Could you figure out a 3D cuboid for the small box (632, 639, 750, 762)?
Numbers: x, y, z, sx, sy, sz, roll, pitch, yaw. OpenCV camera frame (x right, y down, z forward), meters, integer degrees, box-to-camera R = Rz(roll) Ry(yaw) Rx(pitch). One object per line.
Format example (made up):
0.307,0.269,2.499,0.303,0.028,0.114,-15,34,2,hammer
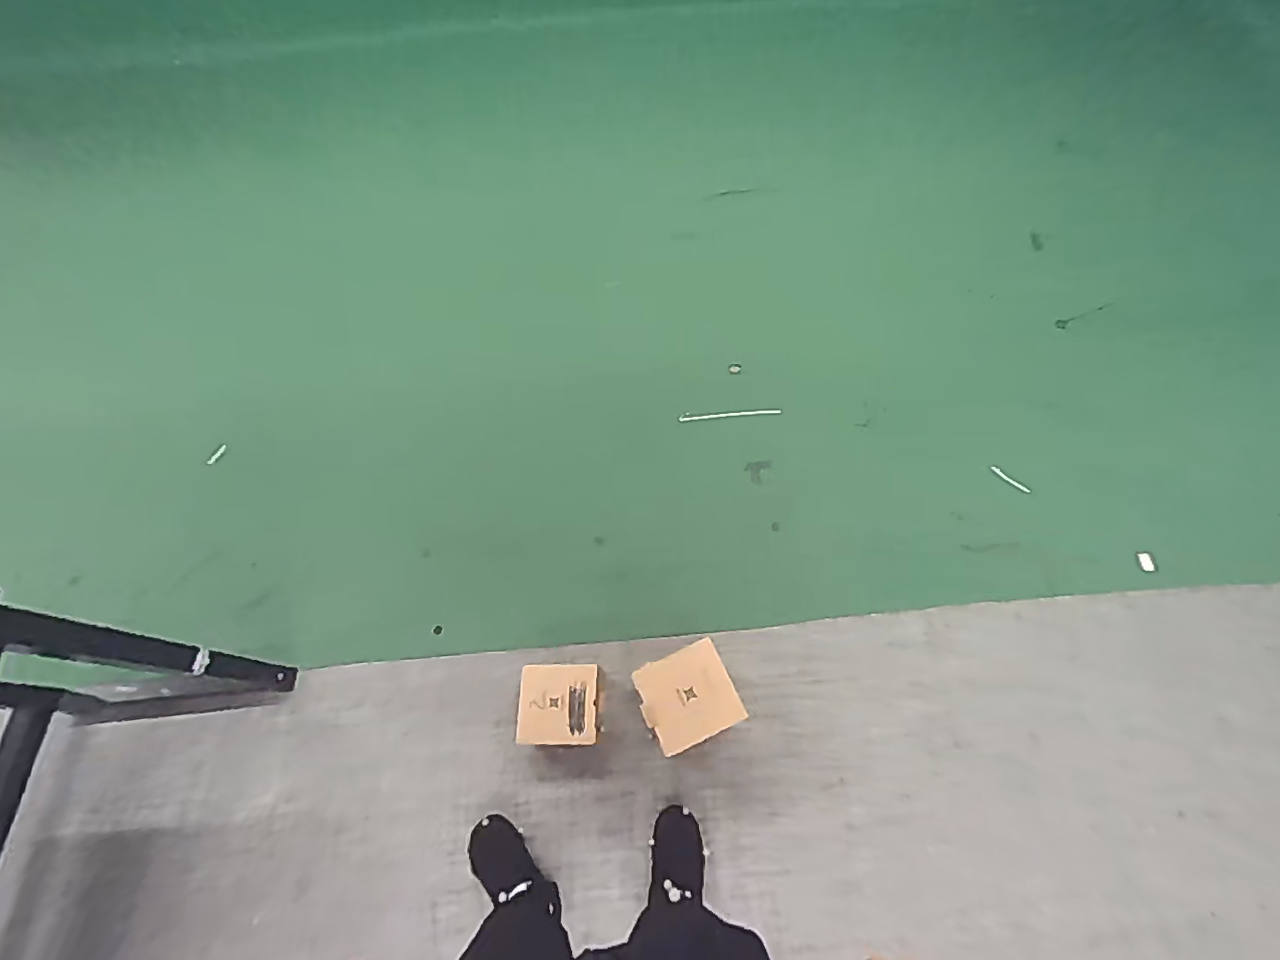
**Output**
0.098,0.446,1.089,0.179,0.176,0.168,-23,66,-9,small box
